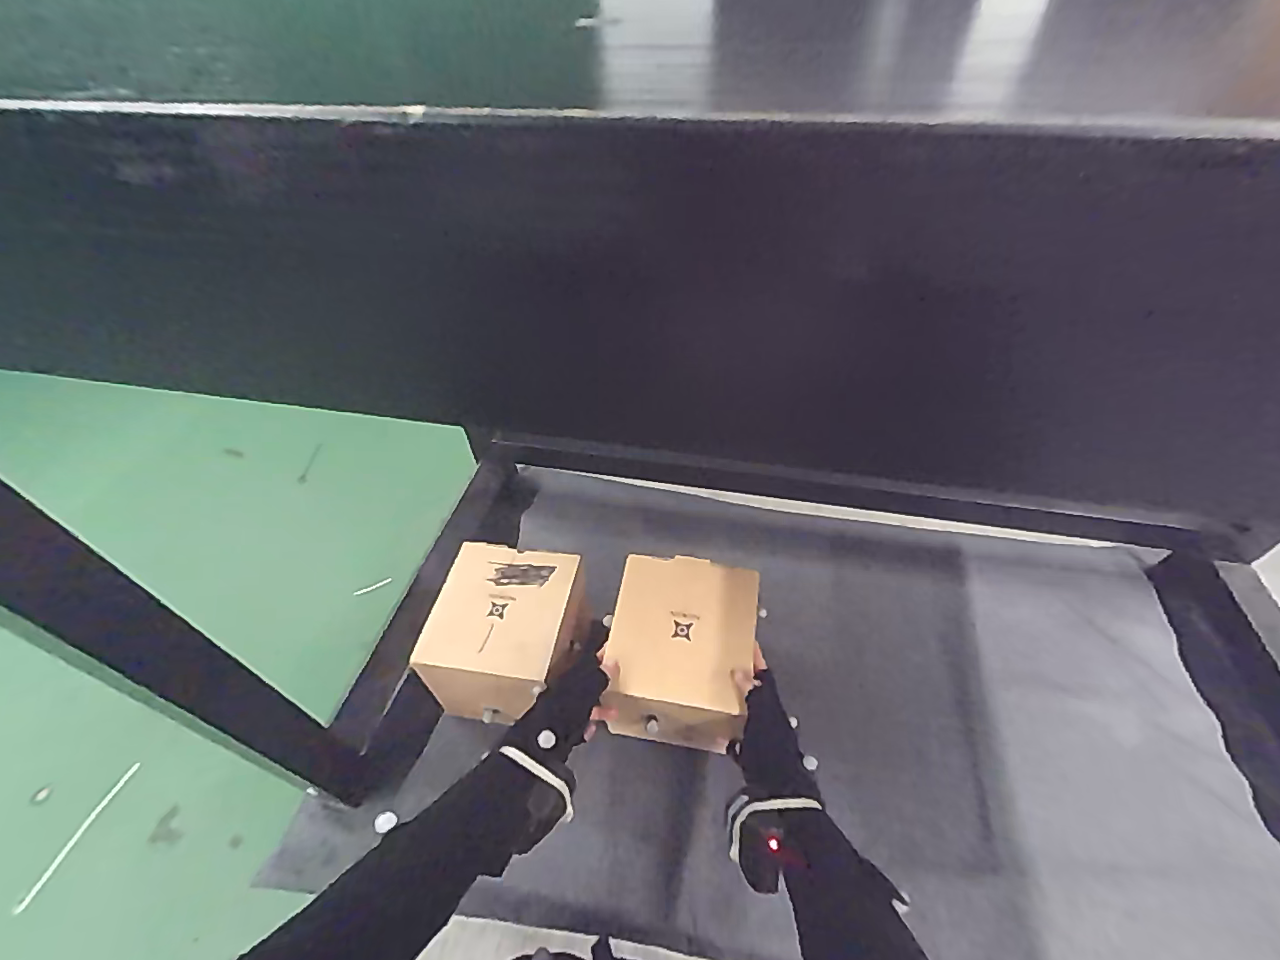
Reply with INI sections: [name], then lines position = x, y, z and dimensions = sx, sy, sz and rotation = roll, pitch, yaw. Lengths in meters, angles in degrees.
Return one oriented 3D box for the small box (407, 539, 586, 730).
[small box]
position = -0.174, 0.206, 0.726
dimensions = 0.168, 0.176, 0.179
rotation = 6, 47, 9
